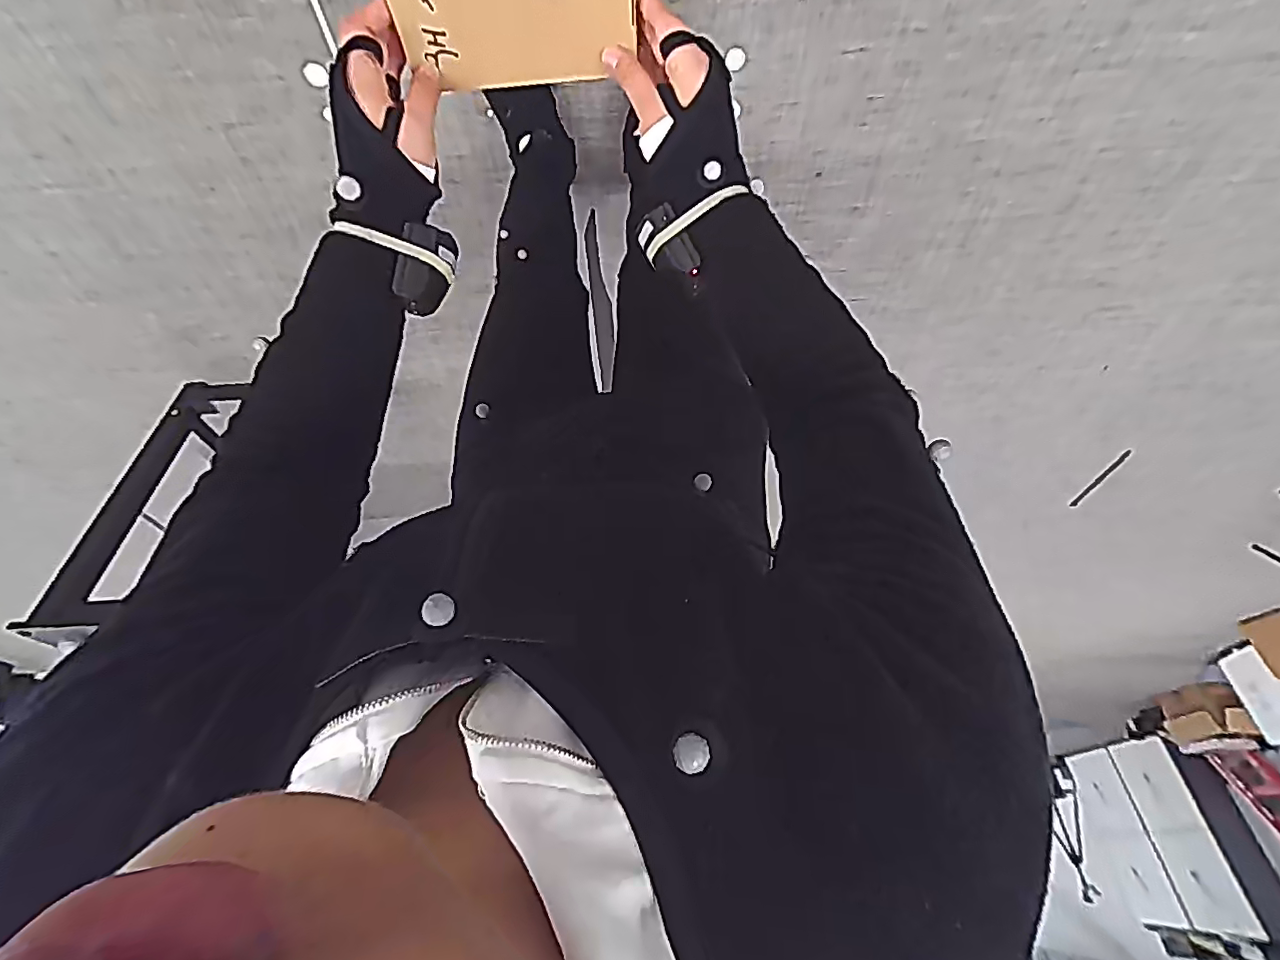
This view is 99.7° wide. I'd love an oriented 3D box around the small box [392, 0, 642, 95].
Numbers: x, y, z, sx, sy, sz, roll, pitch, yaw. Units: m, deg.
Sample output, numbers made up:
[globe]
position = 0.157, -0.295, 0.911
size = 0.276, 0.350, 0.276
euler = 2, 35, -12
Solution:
[small box]
position = -0.094, -0.420, 0.399
size = 0.179, 0.176, 0.168
euler = -5, 148, -1
